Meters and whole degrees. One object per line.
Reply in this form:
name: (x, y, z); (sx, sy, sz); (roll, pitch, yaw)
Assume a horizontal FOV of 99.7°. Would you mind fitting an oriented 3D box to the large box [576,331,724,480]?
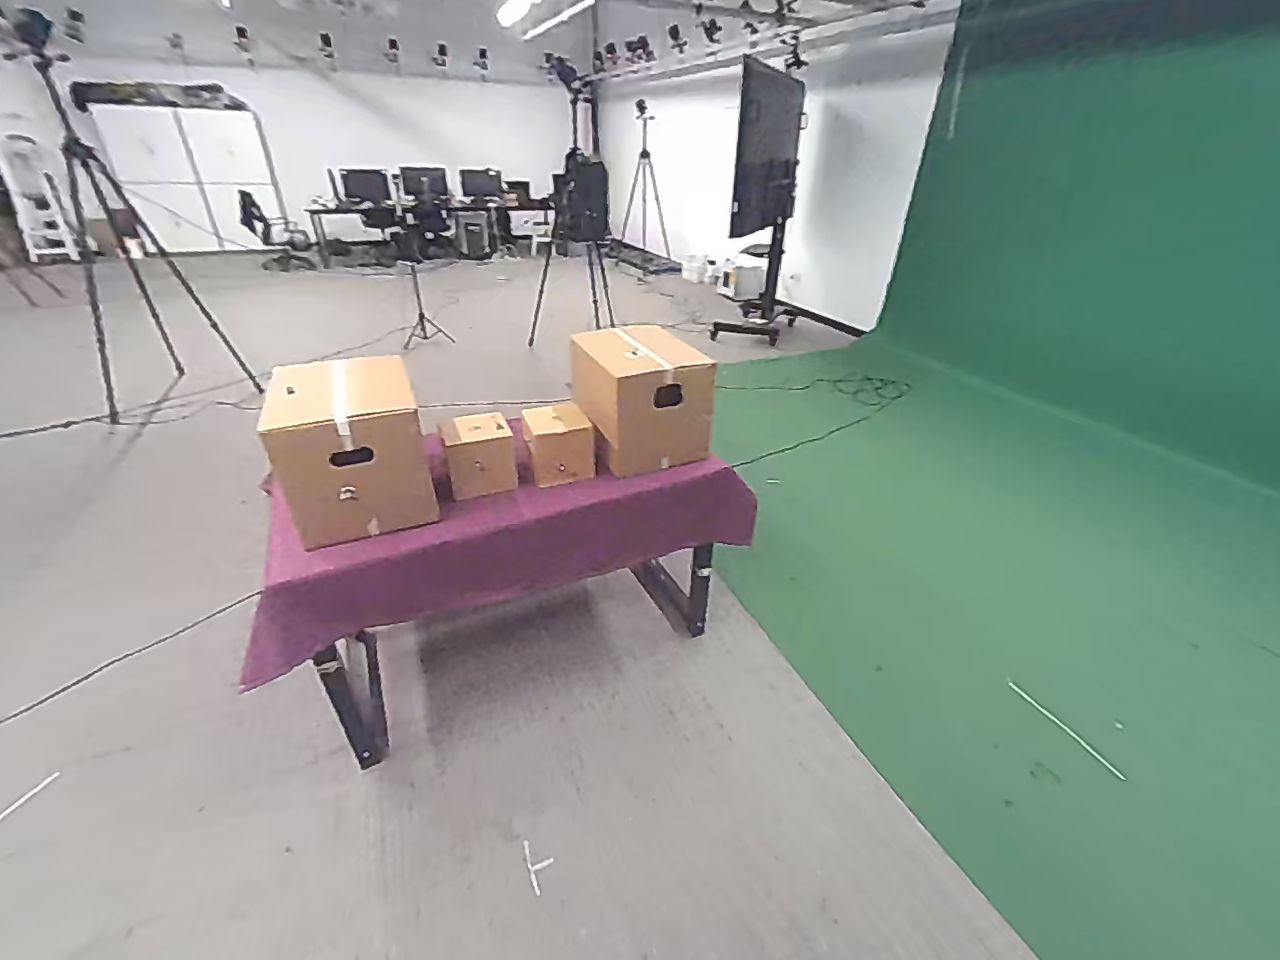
large box: (0.009, -0.250, 1.695); (0.320, 0.320, 0.408); (-12, 35, -21)
